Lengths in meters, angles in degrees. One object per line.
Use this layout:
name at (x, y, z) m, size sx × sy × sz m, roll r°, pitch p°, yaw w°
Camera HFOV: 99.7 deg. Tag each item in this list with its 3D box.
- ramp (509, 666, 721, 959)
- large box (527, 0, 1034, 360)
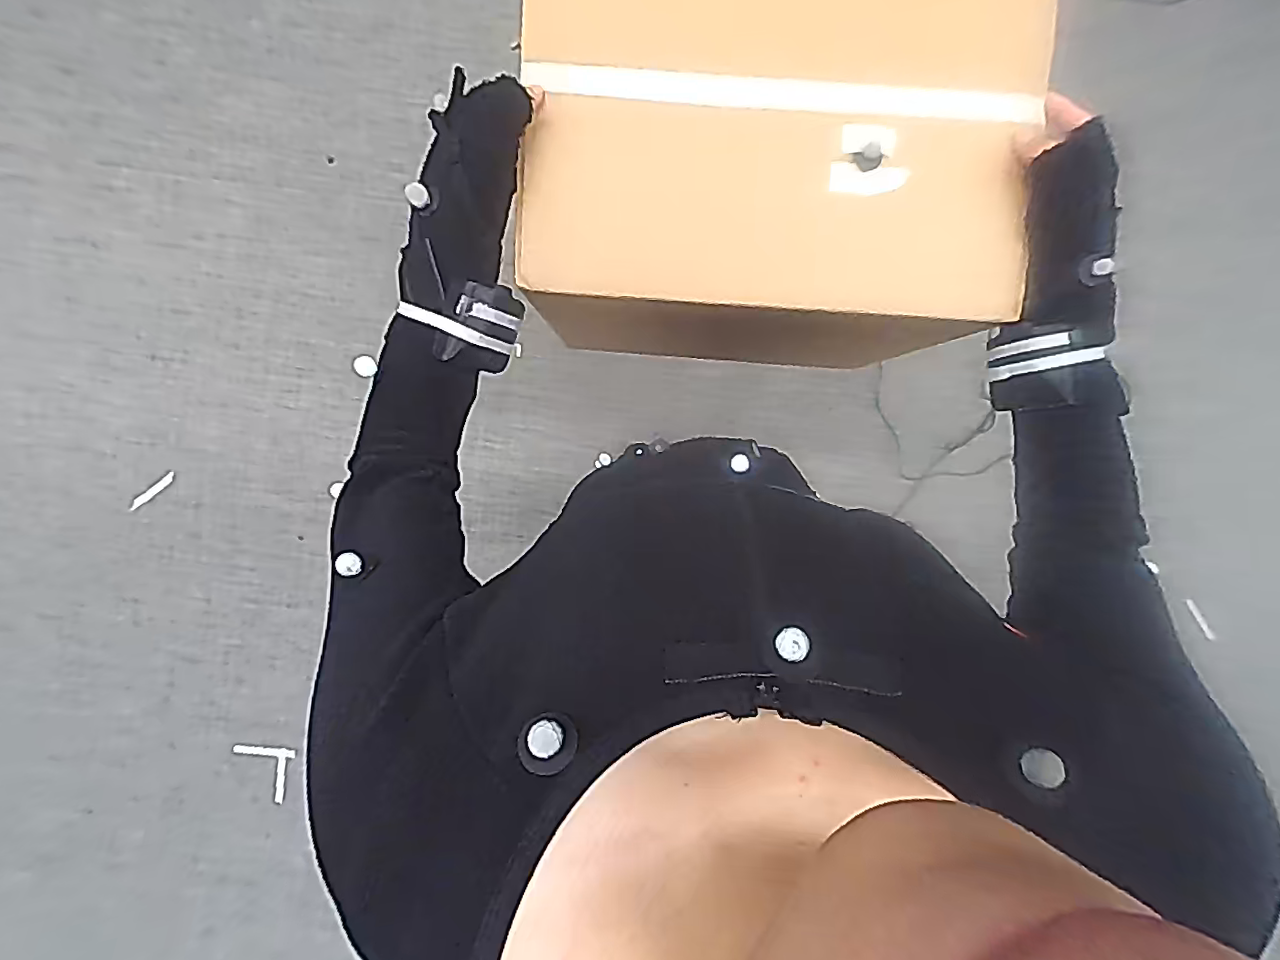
ramp at (-0.074, 1.035, 1.441) m, size 0.509 × 0.206 × 0.991 m, roll 5°, pitch 92°, yaw 2°
large box at (0.107, -0.314, 0.581) m, size 0.408 × 0.320 × 0.320 m, roll 3°, pitch 95°, yaw -2°
